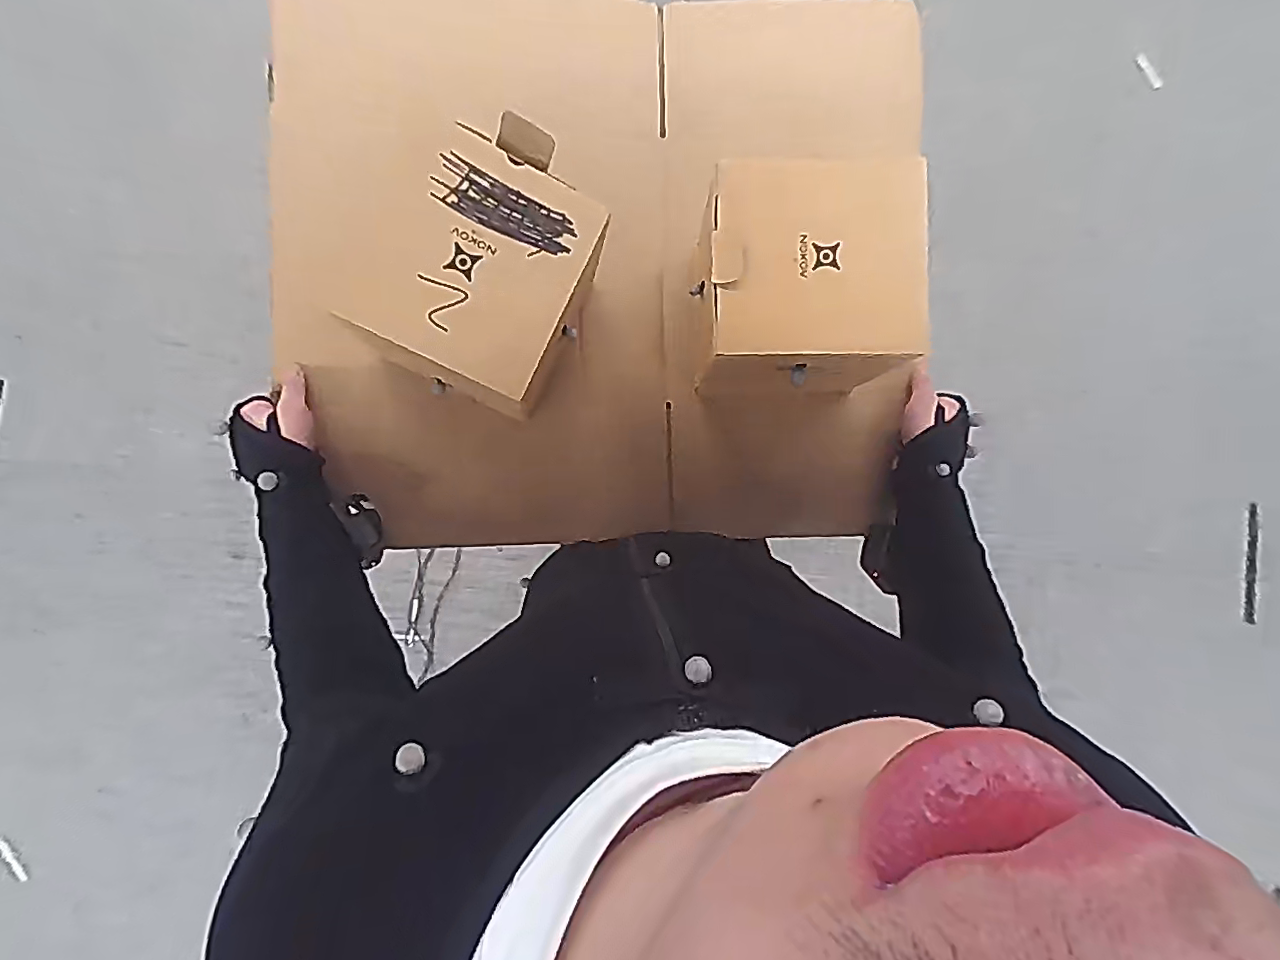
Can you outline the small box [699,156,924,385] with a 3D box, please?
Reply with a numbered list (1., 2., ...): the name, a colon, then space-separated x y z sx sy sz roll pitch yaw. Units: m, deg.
1. small box: 0.155 -0.192 0.540 0.179 0.176 0.168 0 89 1
